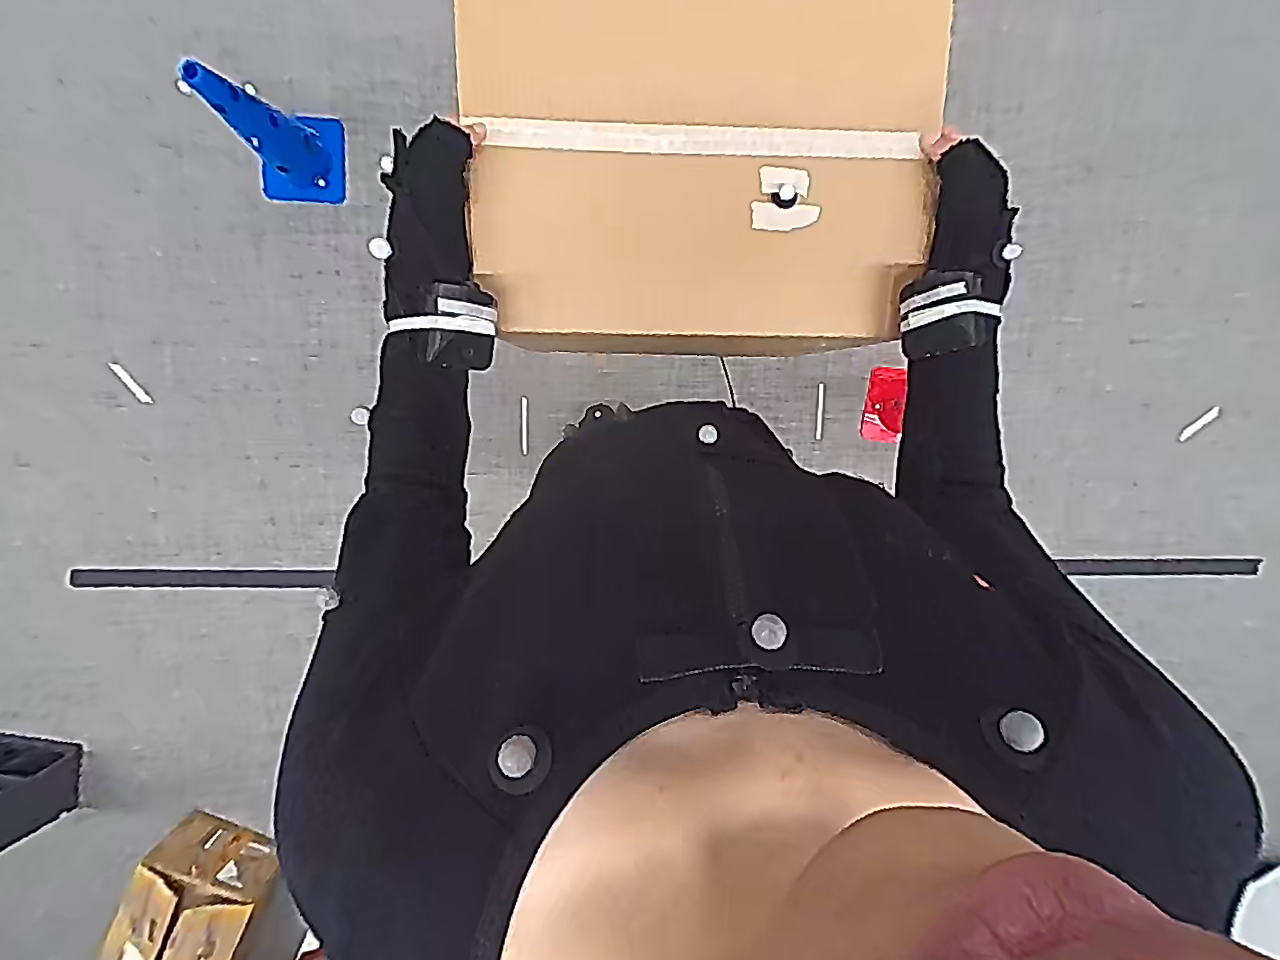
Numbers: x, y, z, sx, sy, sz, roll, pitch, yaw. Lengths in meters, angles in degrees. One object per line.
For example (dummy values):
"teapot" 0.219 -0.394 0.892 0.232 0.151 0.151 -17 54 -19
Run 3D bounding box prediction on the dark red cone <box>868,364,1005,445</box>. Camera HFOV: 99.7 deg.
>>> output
"dark red cone" 0.719 -0.178 1.281 0.201 0.394 0.202 6 97 -2

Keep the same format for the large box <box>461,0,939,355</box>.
"large box" 0.043 -0.310 0.606 0.408 0.320 0.320 0 100 -5

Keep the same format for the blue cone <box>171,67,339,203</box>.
"blue cone" -0.841 -0.768 1.179 0.192 0.380 0.193 4 97 -2
